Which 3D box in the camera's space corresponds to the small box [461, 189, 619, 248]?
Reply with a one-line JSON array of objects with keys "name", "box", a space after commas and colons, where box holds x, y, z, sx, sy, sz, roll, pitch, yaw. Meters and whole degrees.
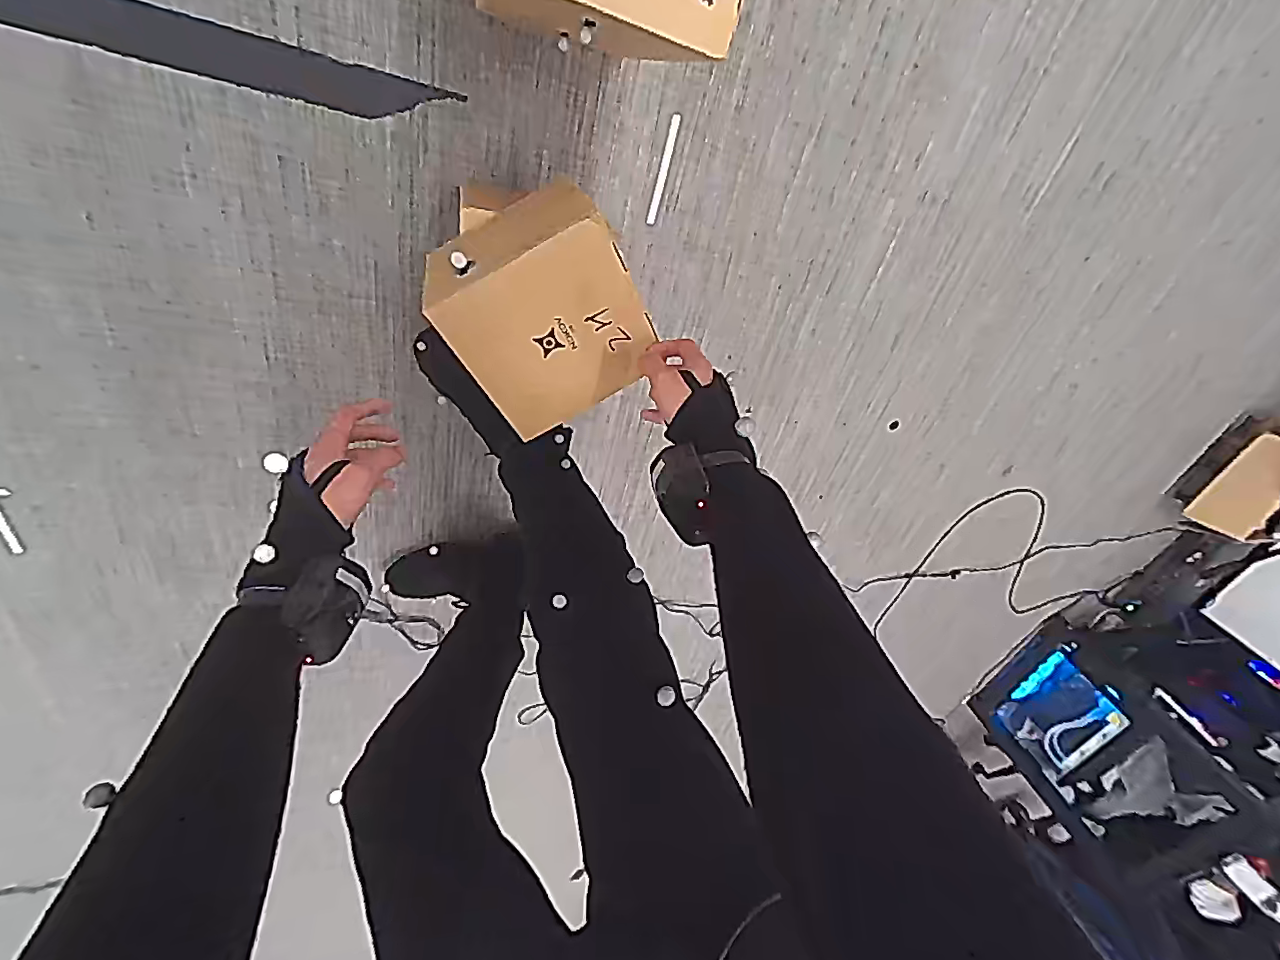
[{"name": "small box", "box": [-0.143, -0.267, 0.707, 0.179, 0.176, 0.168, 0, 126, -20]}]

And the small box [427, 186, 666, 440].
[{"name": "small box", "box": [-0.099, -0.180, 0.574, 0.179, 0.176, 0.168, -29, 131, 3]}]

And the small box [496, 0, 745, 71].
[{"name": "small box", "box": [-0.014, -0.435, 0.403, 0.179, 0.176, 0.168, 5, 124, -21]}]
